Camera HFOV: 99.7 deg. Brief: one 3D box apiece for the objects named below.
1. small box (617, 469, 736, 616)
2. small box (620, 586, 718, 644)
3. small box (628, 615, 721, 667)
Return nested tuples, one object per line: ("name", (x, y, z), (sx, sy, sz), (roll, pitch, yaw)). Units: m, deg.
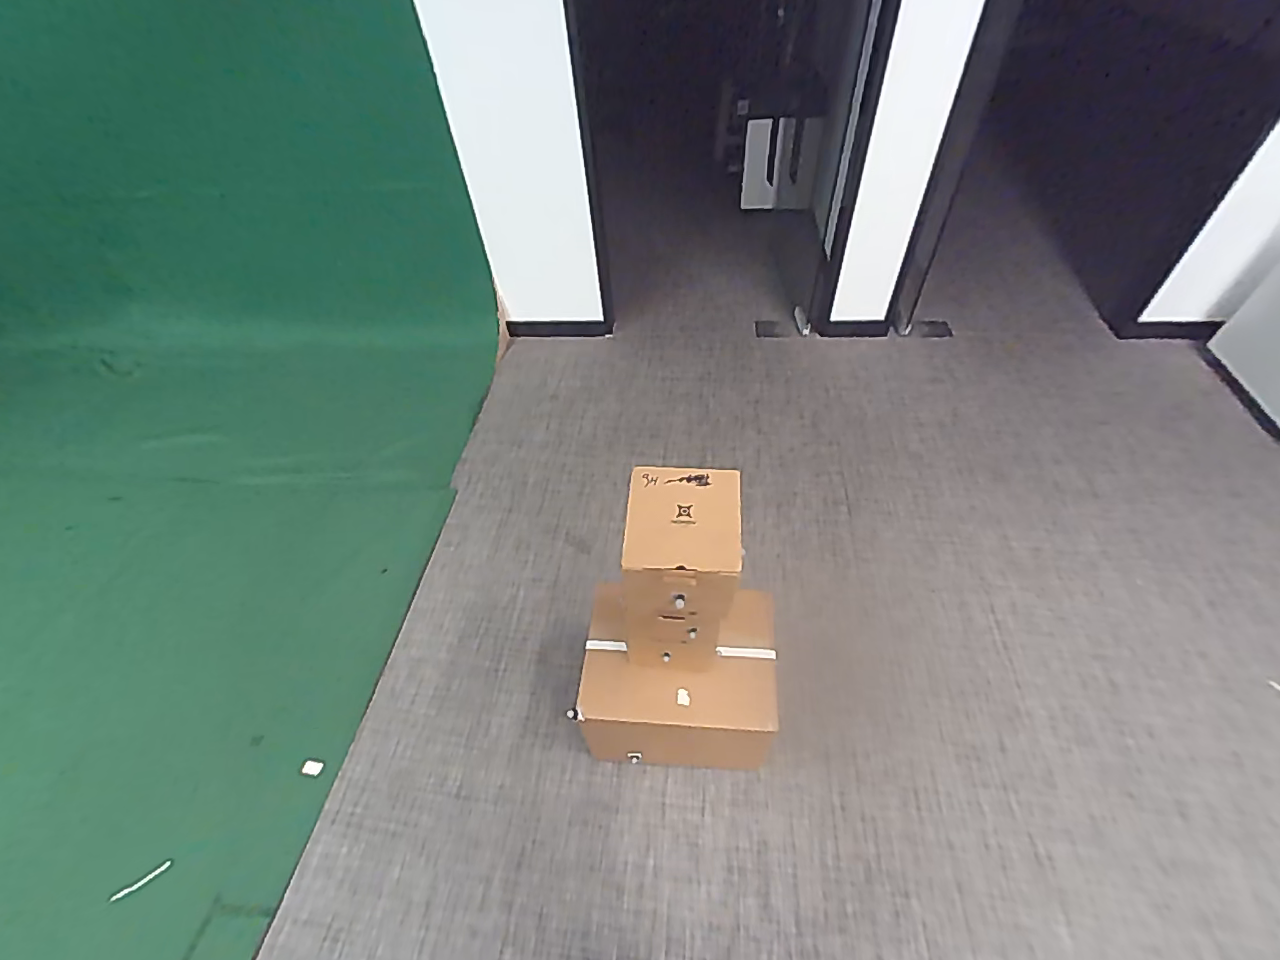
("small box", (0.063, 0.102, 0.851), (0.168, 0.176, 0.179), (2, 56, 6))
("small box", (0.061, 0.189, 0.990), (0.168, 0.176, 0.179), (2, 54, 5))
("small box", (0.073, 0.282, 1.122), (0.179, 0.176, 0.168), (1, 56, 5))
